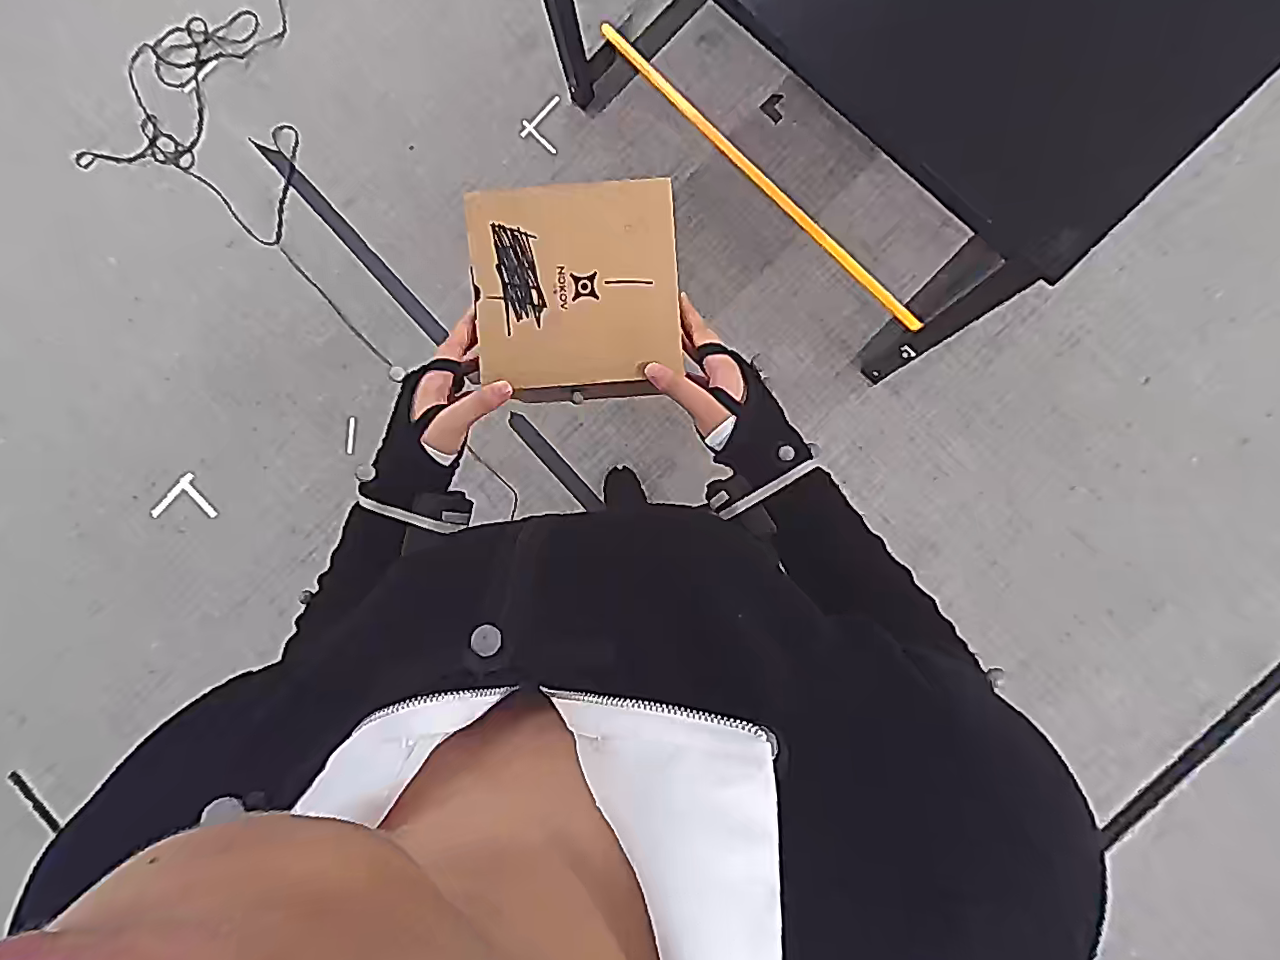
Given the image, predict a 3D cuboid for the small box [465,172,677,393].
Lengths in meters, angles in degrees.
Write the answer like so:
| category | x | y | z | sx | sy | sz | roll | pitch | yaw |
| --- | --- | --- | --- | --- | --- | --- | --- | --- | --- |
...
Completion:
| category | x | y | z | sx | sy | sz | roll | pitch | yaw |
| --- | --- | --- | --- | --- | --- | --- | --- | --- | --- |
| small box | -0.056 | -0.179 | 0.540 | 0.179 | 0.176 | 0.168 | -3 | 95 | 1 |
